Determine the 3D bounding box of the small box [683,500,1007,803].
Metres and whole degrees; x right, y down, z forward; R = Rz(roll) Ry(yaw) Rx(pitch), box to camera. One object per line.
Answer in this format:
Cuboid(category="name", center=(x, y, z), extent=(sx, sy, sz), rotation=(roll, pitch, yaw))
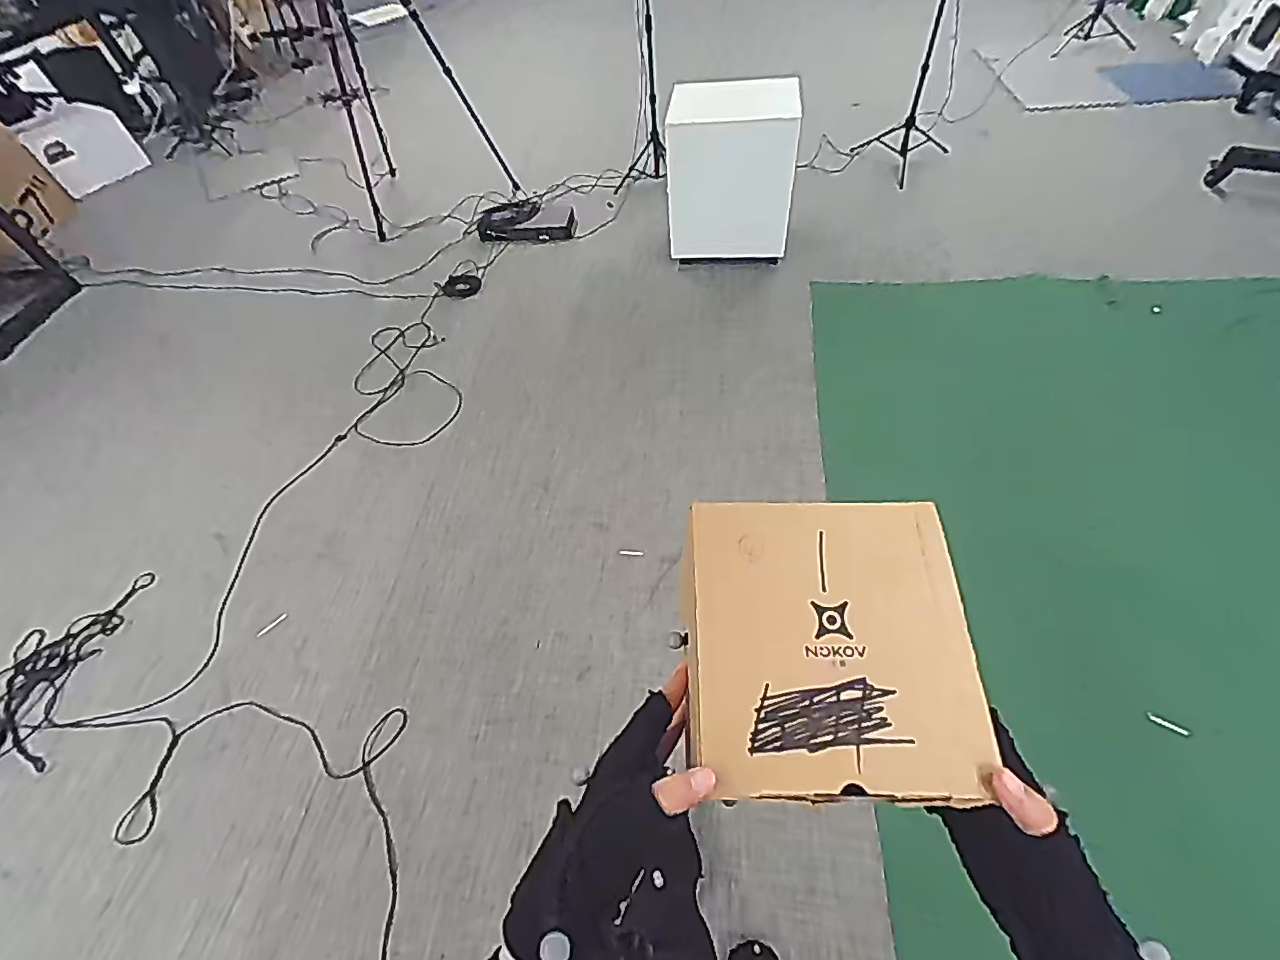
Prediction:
Cuboid(category="small box", center=(0.119, 0.128, 0.398), extent=(0.168, 0.176, 0.179), rotation=(0, 62, 2))
